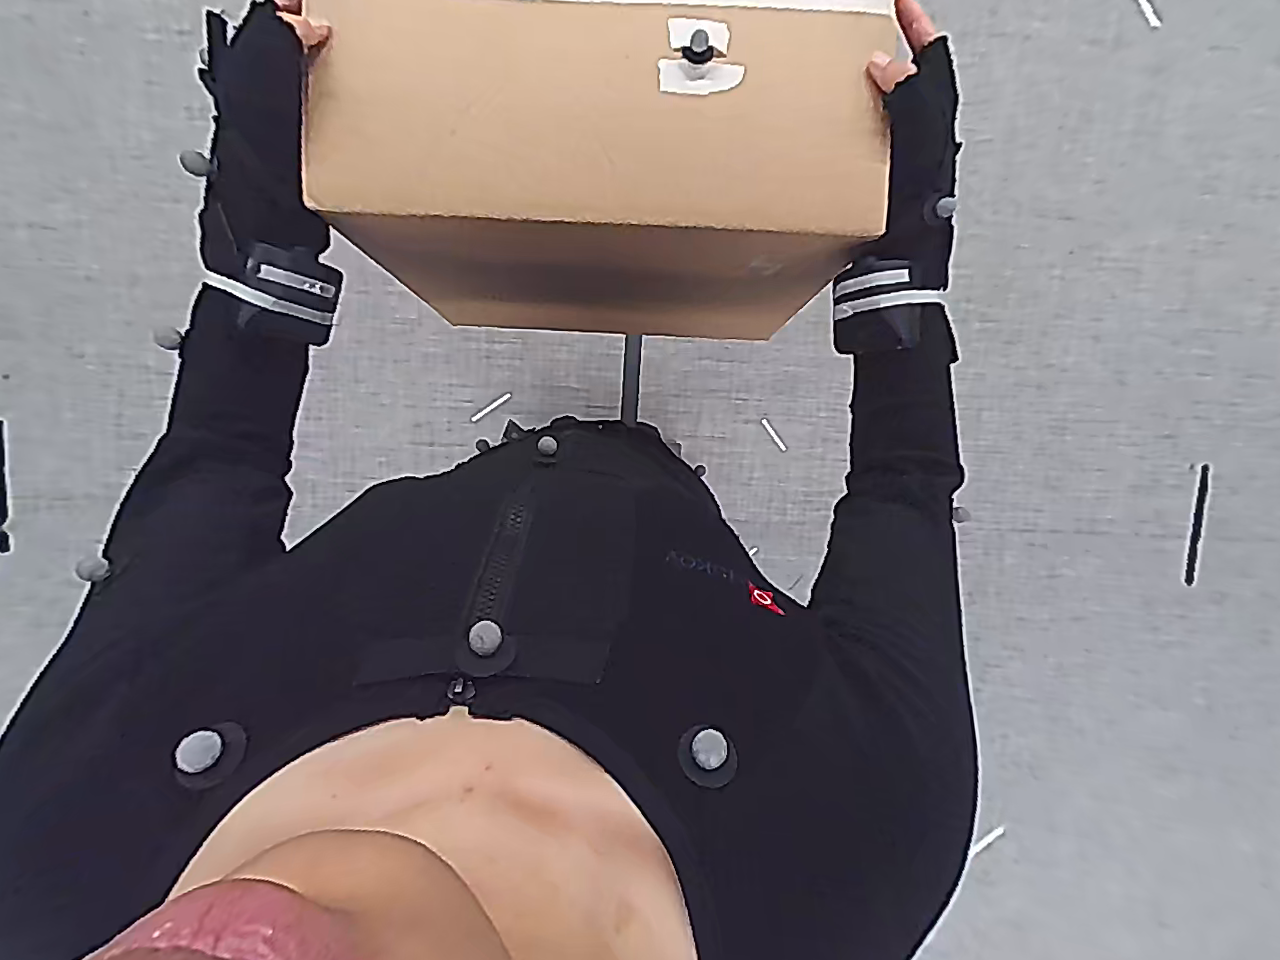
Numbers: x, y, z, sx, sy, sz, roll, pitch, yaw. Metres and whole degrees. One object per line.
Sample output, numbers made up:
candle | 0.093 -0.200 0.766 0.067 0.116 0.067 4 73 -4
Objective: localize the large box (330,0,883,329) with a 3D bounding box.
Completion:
large box | -0.026 -0.345 0.538 0.408 0.320 0.320 2 92 -2

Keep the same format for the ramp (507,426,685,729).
ramp | -0.136 0.336 1.619 0.509 0.206 0.991 0 98 -2
